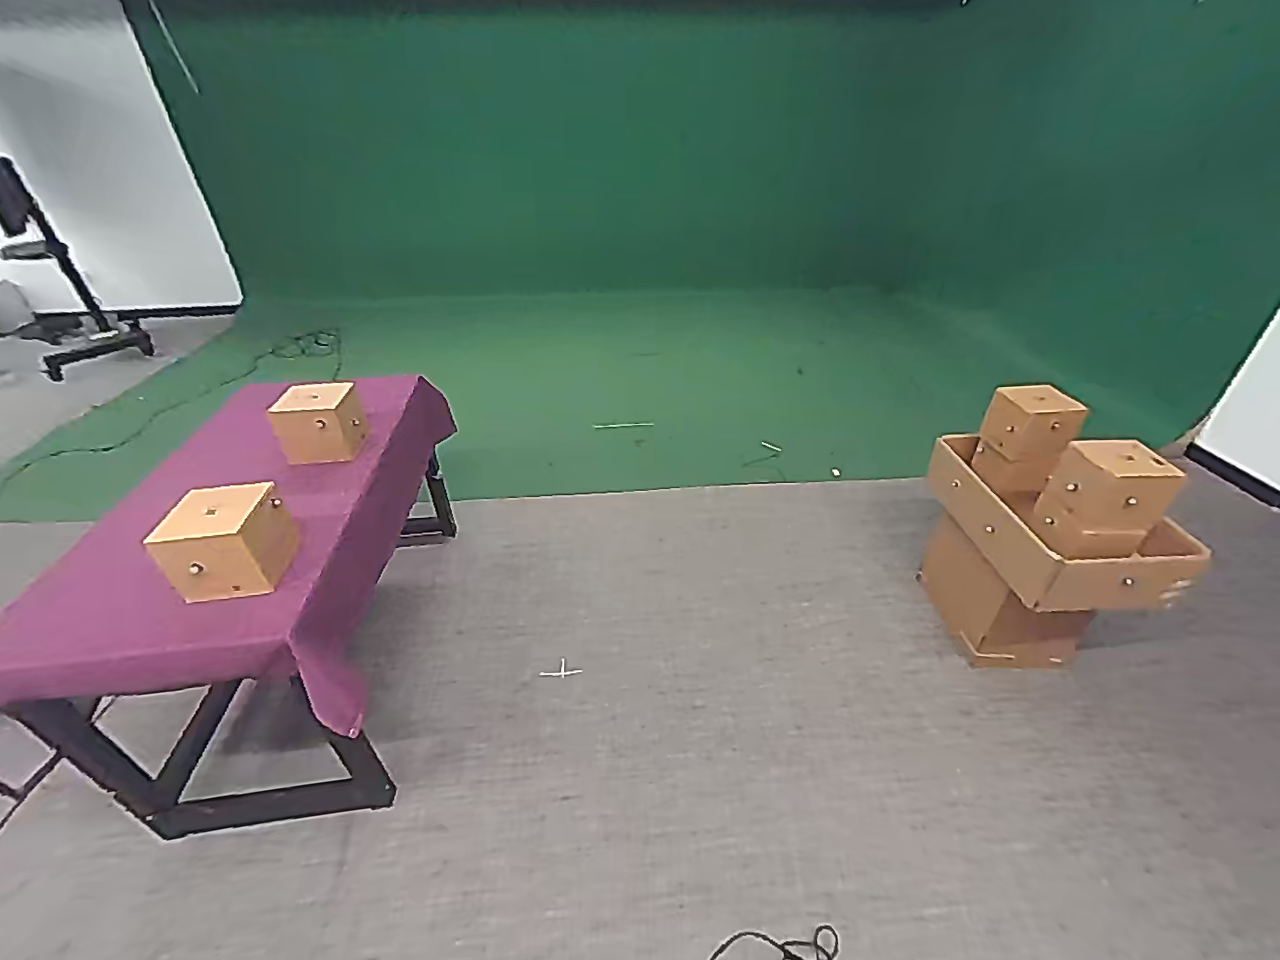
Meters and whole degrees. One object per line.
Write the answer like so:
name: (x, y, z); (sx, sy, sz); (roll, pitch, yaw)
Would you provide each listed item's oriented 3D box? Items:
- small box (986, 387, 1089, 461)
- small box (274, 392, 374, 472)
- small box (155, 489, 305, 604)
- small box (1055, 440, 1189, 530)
small box: (1.193, -0.169, 1.644); (0.179, 0.176, 0.168); (-4, 35, -4)
small box: (-0.890, -0.138, 1.548); (0.179, 0.176, 0.168); (-5, 34, -3)
small box: (-0.840, 0.144, 1.134); (0.168, 0.176, 0.179); (-7, 34, -6)
small box: (1.204, 0.014, 1.374); (0.179, 0.176, 0.168); (-2, 35, 1)
